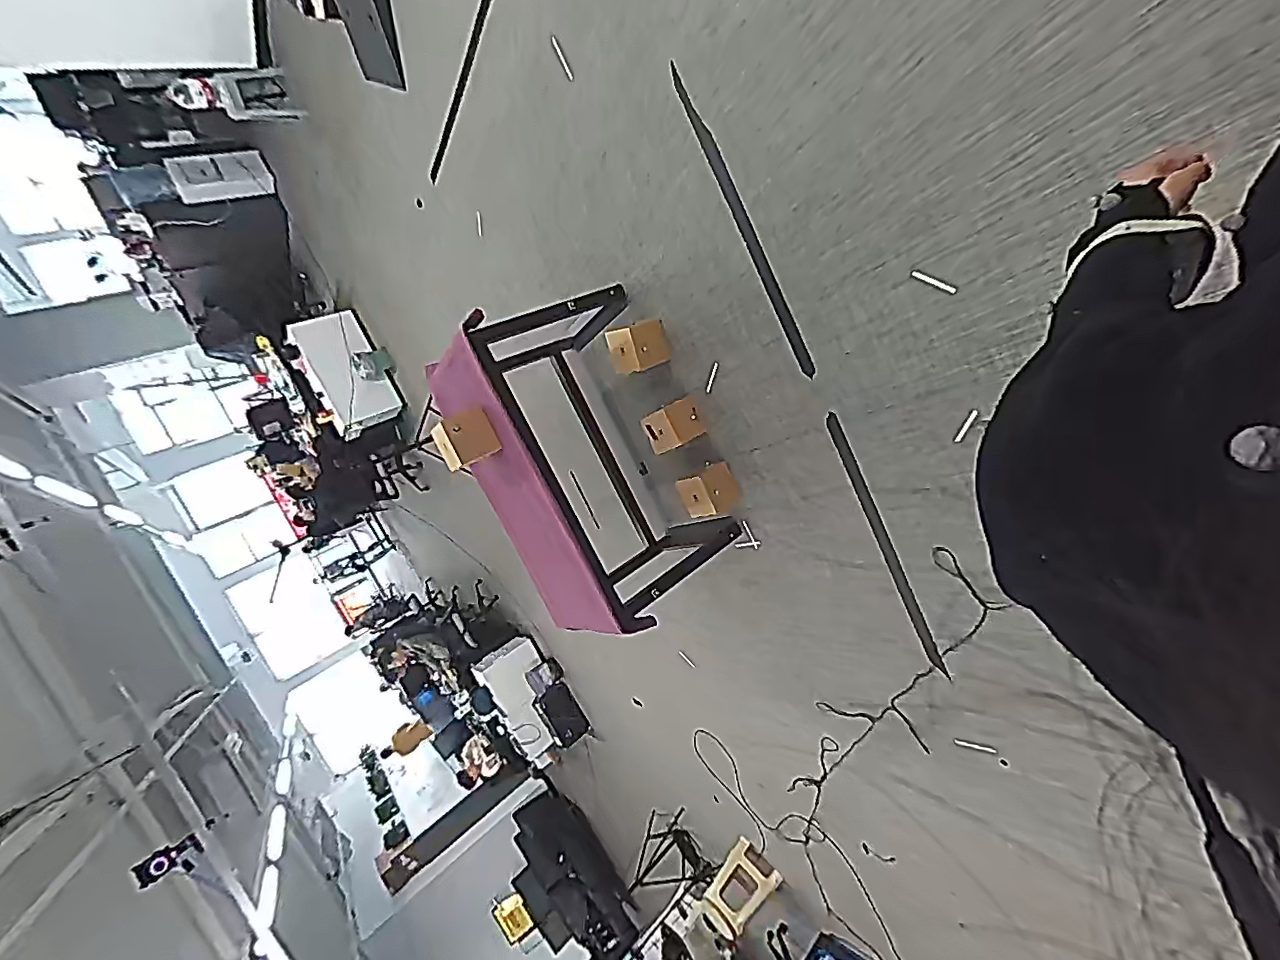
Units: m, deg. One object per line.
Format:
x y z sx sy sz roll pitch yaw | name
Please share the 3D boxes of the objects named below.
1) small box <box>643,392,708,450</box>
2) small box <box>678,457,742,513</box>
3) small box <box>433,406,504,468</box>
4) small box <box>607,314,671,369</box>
0.151 -0.245 2.247 0.179 0.176 0.168 -20 100 56 | small box
0.299 0.021 2.264 0.168 0.176 0.179 -14 104 56 | small box
-0.641 -0.166 2.023 0.168 0.176 0.179 -14 104 58 | small box
-0.001 -0.565 2.197 0.168 0.176 0.179 9 124 50 | small box
